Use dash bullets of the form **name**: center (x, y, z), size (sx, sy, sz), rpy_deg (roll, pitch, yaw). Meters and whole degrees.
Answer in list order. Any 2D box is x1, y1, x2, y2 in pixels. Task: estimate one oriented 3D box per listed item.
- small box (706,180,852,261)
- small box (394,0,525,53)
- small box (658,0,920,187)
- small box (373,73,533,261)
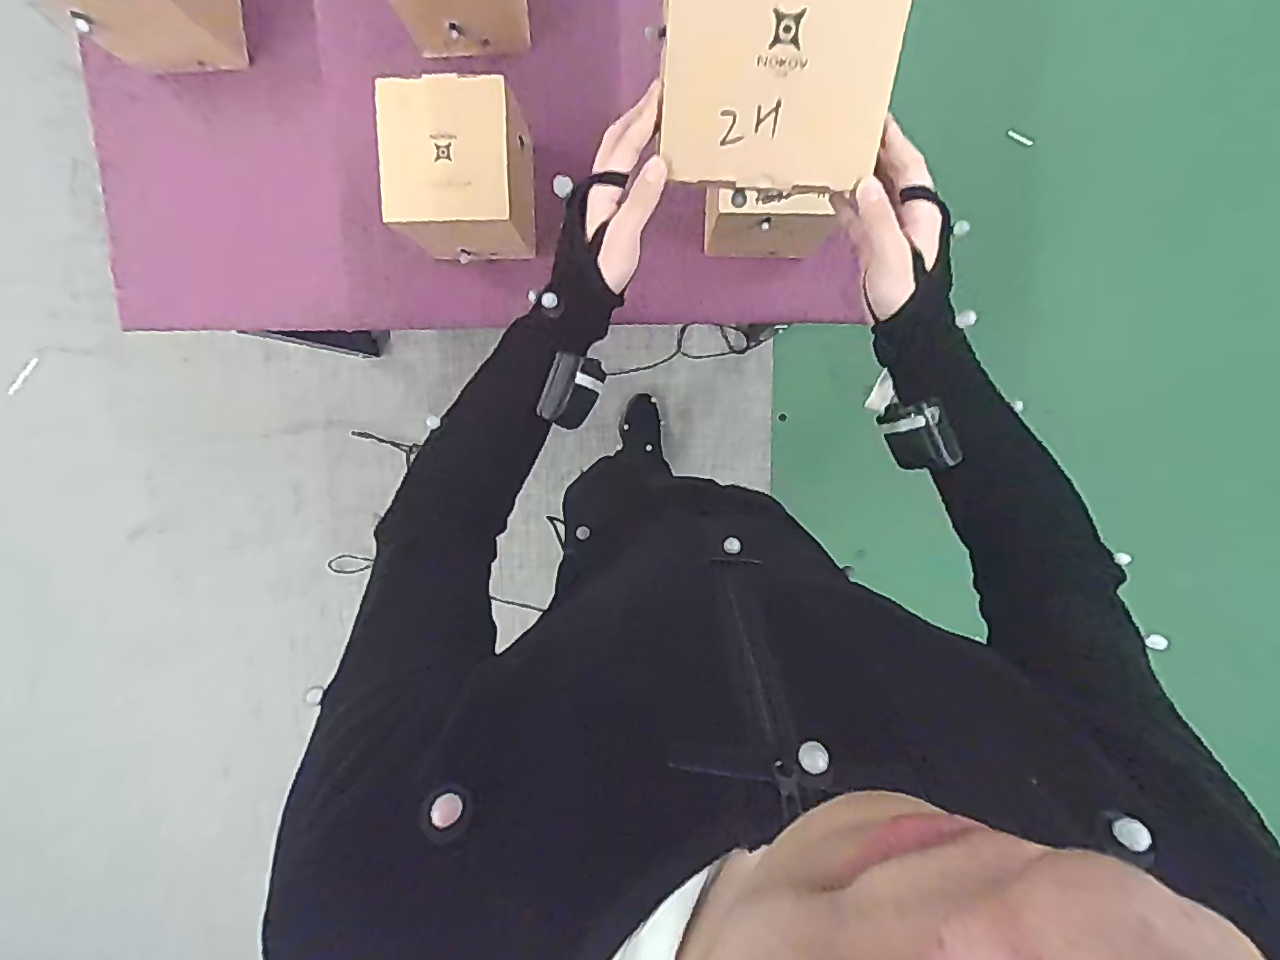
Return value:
- **small box**: center (0.183, -0.423, 0.748), size (0.168, 0.176, 0.179), rpy_deg (1, 94, 1)
- **small box**: center (-0.252, -0.714, 0.714), size (0.168, 0.176, 0.179), rpy_deg (-3, 98, 0)
- **small box**: center (0.104, -0.344, 0.437), size (0.168, 0.176, 0.179), rpy_deg (3, 118, -1)
- **small box**: center (-0.246, -0.418, 0.748), size (0.168, 0.176, 0.179), rpy_deg (-1, 96, 0)
